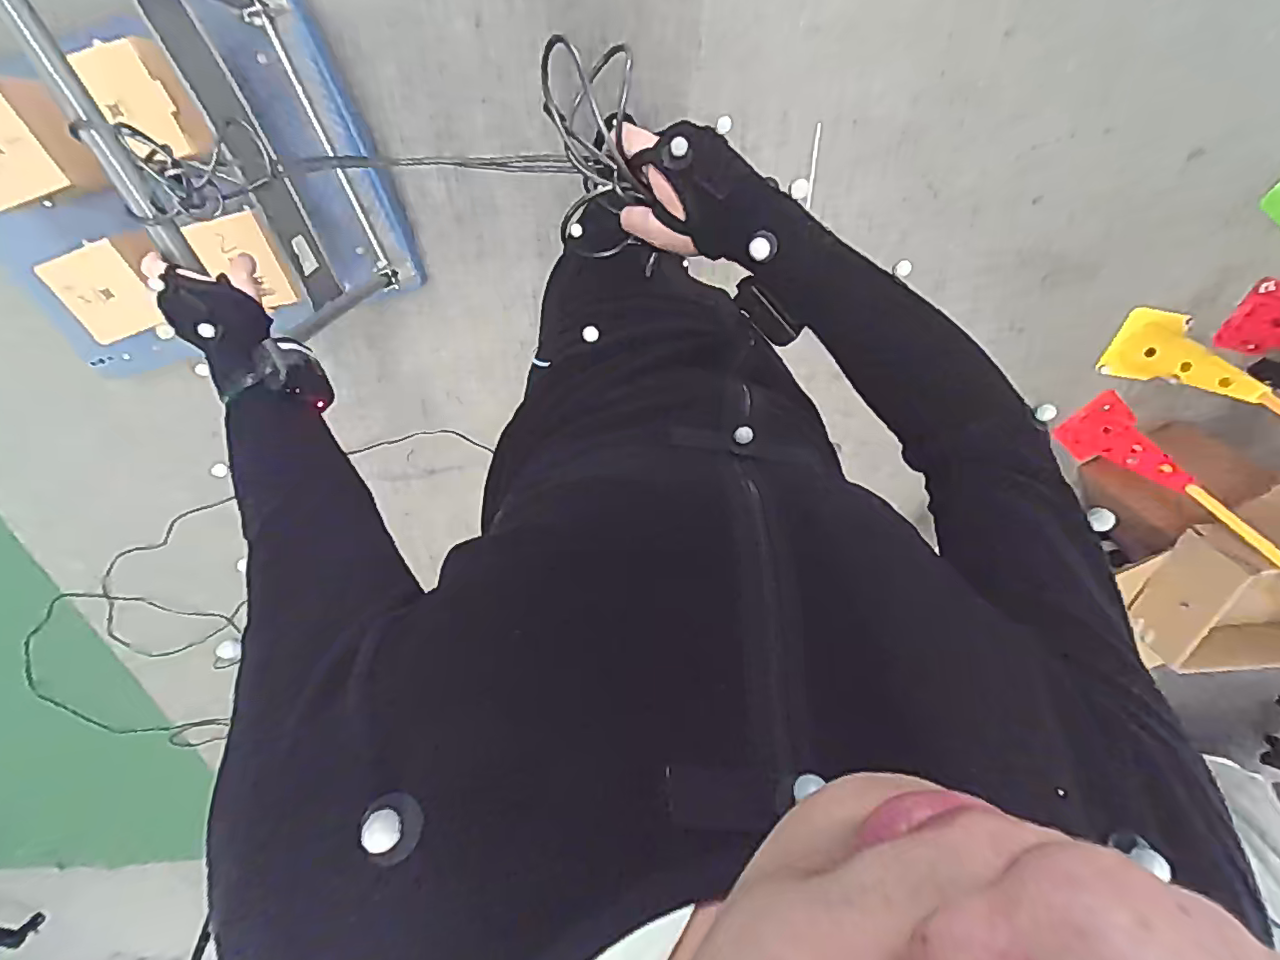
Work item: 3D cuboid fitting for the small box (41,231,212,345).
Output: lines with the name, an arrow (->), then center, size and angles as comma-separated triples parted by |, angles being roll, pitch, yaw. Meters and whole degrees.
small box -> -1.066, -0.413, 1.149 | 0.179, 0.176, 0.168 | -17, 121, 7

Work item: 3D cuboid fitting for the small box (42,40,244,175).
small box -> -0.891, -0.674, 0.993 | 0.179, 0.176, 0.168 | -13, 123, 4

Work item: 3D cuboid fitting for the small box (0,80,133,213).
small box -> -1.131, -0.619, 1.012 | 0.179, 0.176, 0.168 | -16, 123, 6
